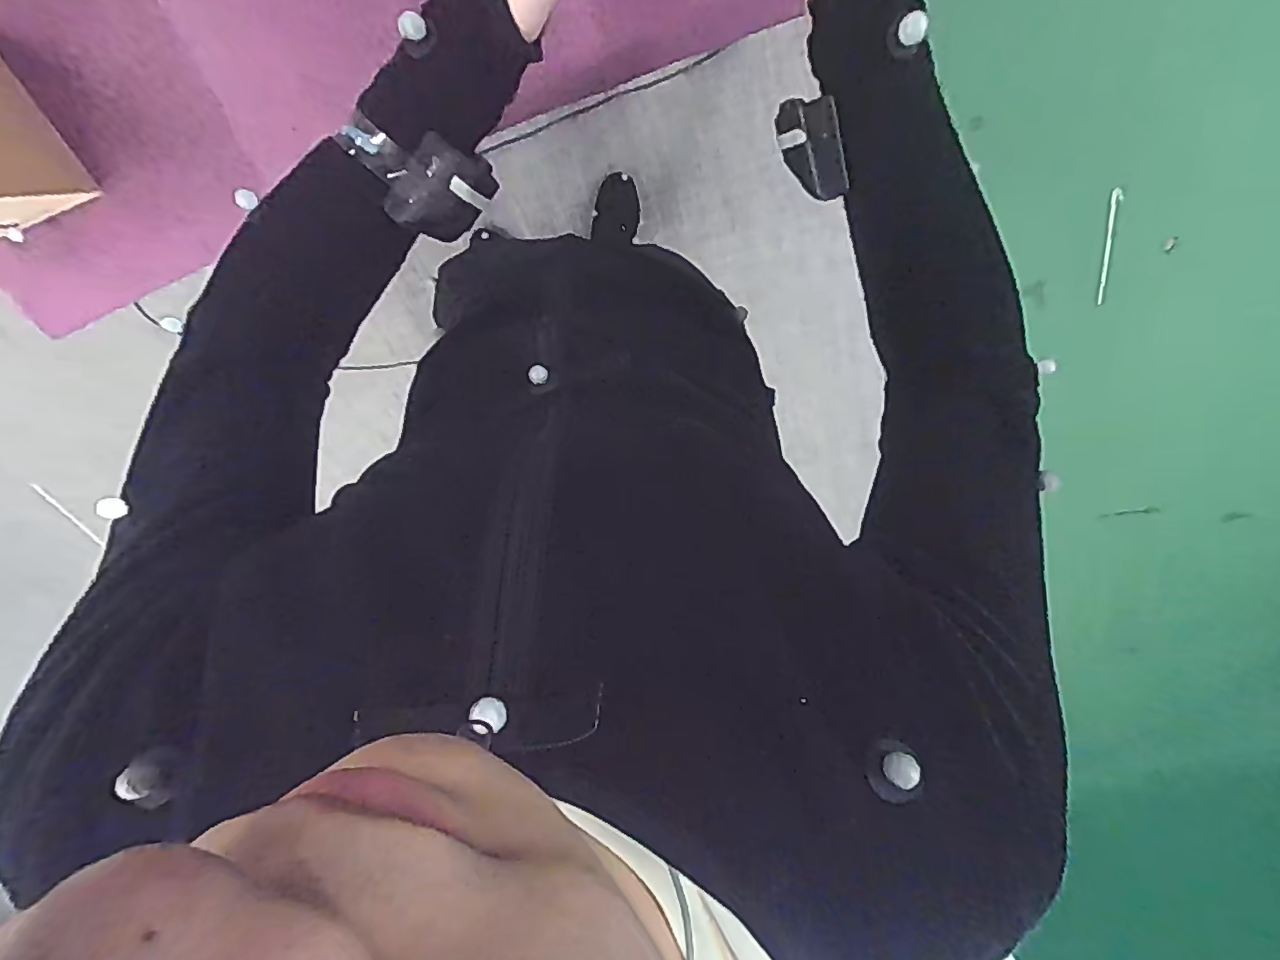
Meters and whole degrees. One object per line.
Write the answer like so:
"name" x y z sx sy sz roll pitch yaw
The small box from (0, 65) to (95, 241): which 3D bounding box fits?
"small box" -0.750 -0.350 0.552 0.168 0.176 0.179 -18 120 6
